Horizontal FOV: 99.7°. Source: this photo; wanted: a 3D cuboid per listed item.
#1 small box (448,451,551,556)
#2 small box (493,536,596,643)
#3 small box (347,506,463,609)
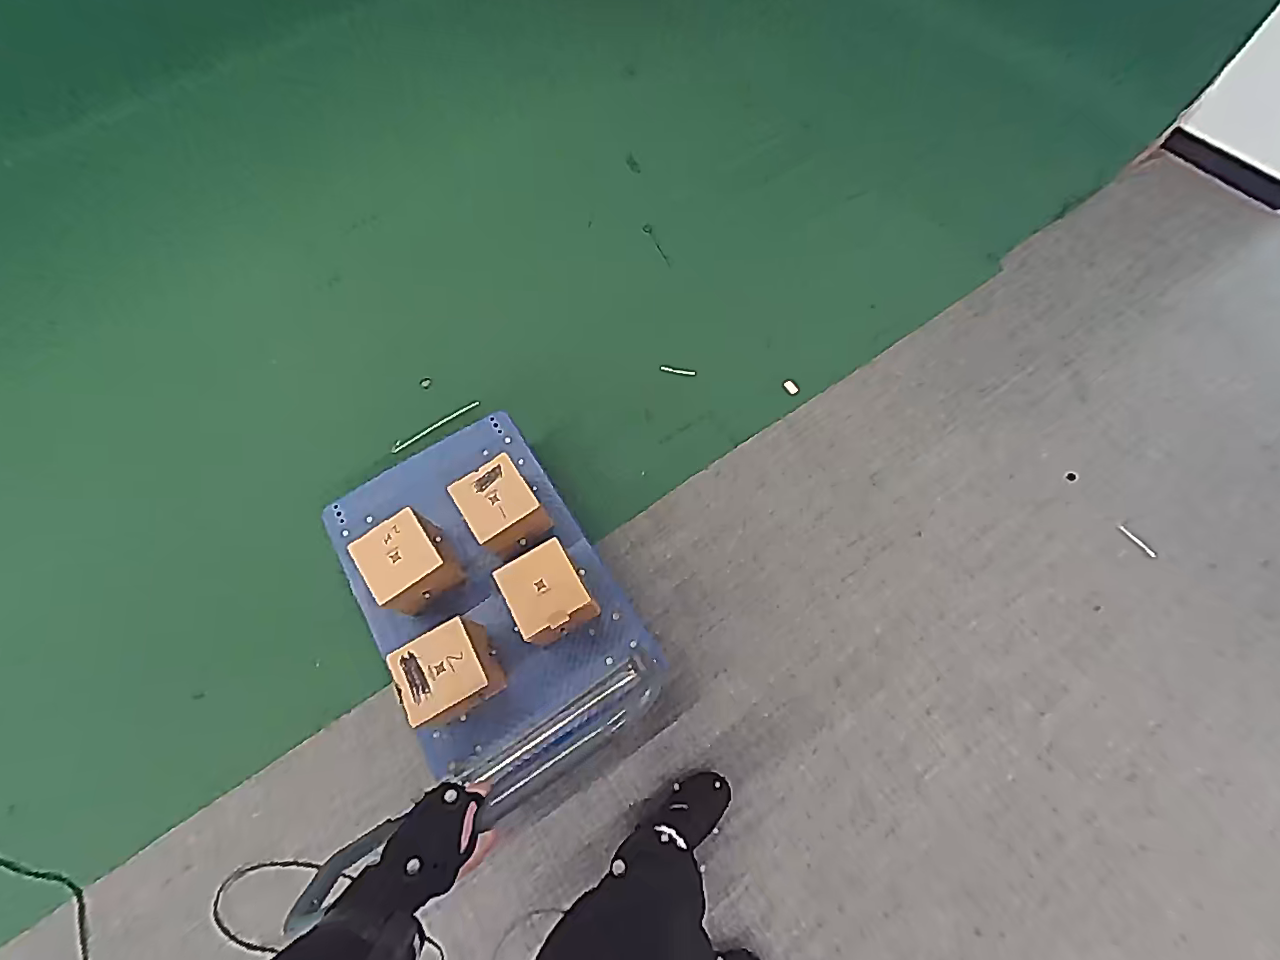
[{"bbox_3d":[-0.344,0.065,1.352,0.168,0.176,0.179,-33,72,-9],"label":"small box"},{"bbox_3d":[-0.218,0.263,1.270,0.168,0.176,0.179,-30,71,-9],"label":"small box"},{"bbox_3d":[-0.559,0.197,1.309,0.168,0.176,0.179,-34,71,-11],"label":"small box"}]
